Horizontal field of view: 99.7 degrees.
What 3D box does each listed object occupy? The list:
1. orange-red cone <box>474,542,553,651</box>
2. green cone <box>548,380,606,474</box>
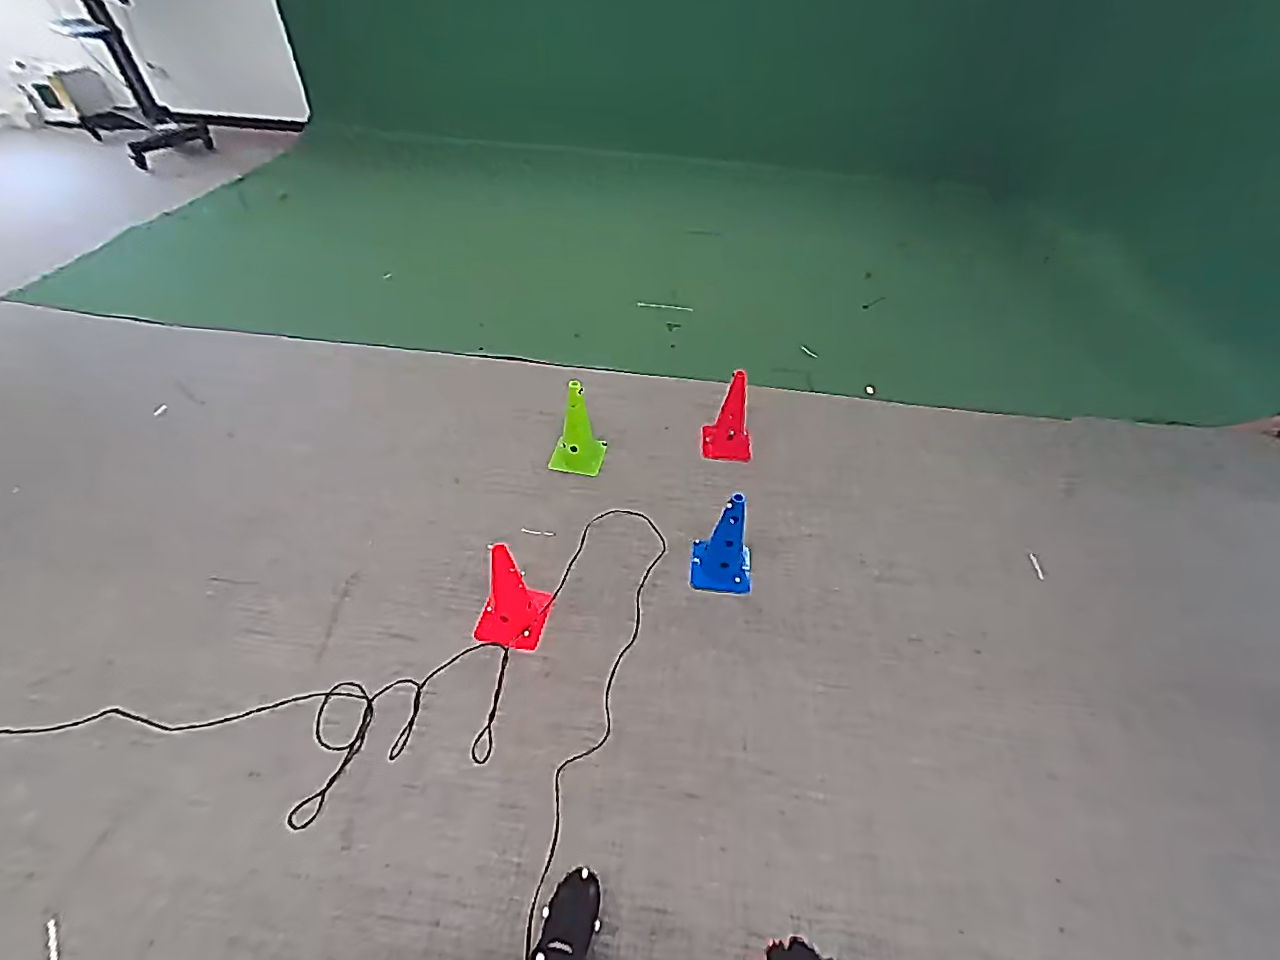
[{"bbox_3d":[-0.376,0.298,1.540,0.198,0.360,0.199,11,45,6],"label":"orange-red cone"},{"bbox_3d":[-0.244,-0.222,2.036,0.200,0.368,0.202,8,48,5],"label":"green cone"}]
